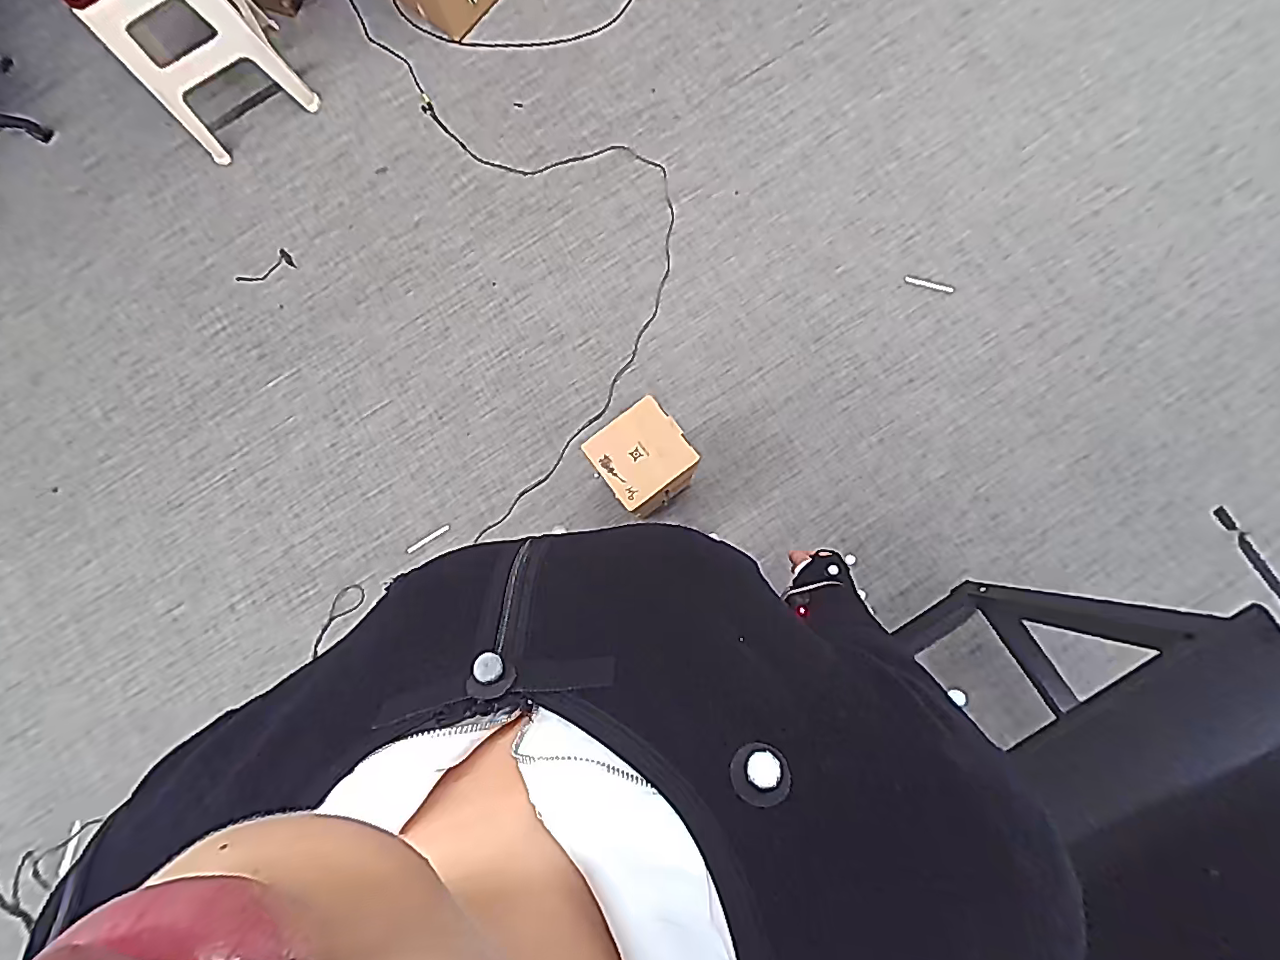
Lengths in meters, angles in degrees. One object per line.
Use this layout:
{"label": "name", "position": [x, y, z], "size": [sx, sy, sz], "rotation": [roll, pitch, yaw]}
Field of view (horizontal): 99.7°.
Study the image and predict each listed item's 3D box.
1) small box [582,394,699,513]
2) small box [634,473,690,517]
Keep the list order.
{"label": "small box", "position": [0.002, -0.048, 1.131], "size": [0.179, 0.176, 0.168], "rotation": [-37, 83, -2]}
{"label": "small box", "position": [0.015, -0.016, 1.456], "size": [0.179, 0.176, 0.168], "rotation": [-36, 82, -1]}
